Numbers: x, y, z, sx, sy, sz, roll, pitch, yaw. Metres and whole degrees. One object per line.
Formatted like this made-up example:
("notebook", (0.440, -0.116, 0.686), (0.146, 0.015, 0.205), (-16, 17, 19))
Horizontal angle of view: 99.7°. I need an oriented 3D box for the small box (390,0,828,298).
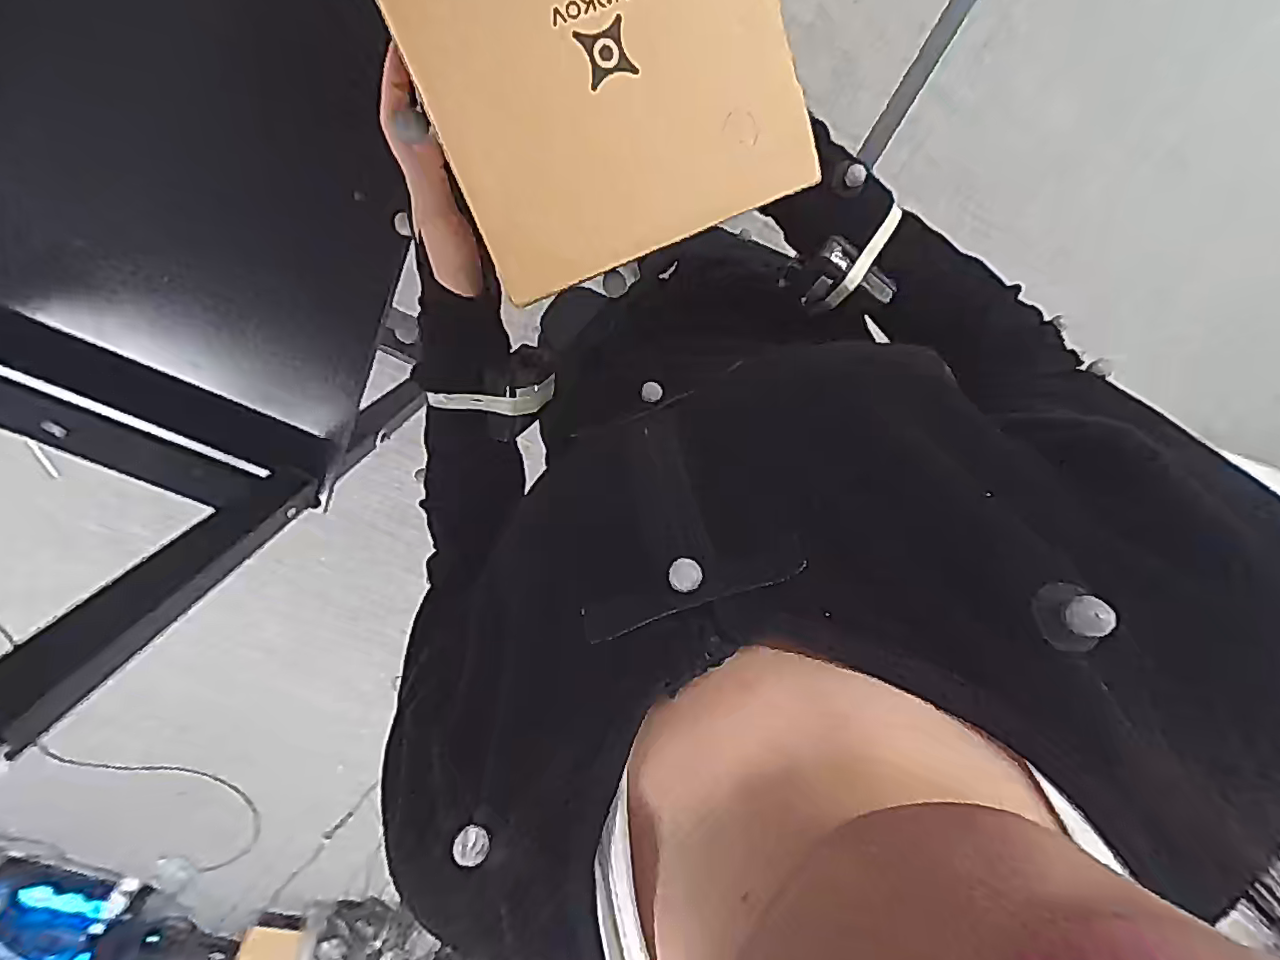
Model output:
("small box", (-0.026, -0.216, 0.303), (0.168, 0.176, 0.179), (-23, 109, -3))
